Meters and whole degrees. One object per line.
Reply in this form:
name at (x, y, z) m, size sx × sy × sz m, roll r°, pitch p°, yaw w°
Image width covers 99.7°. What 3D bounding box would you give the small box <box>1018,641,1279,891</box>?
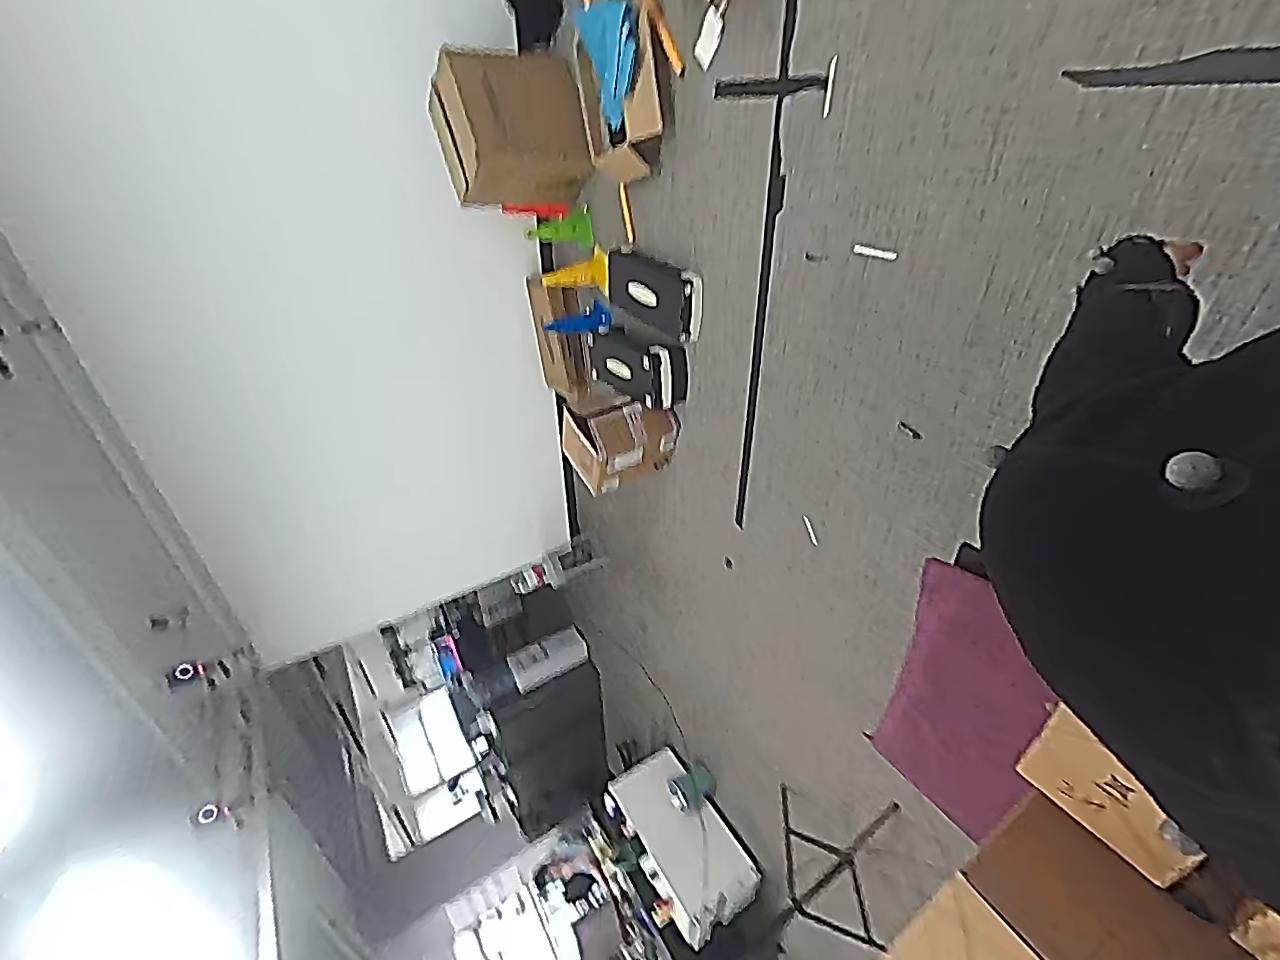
small box at (0.613, 0.331, 0.652) m, size 0.168 × 0.176 × 0.179 m, roll 41°, pitch 143°, yaw 45°
